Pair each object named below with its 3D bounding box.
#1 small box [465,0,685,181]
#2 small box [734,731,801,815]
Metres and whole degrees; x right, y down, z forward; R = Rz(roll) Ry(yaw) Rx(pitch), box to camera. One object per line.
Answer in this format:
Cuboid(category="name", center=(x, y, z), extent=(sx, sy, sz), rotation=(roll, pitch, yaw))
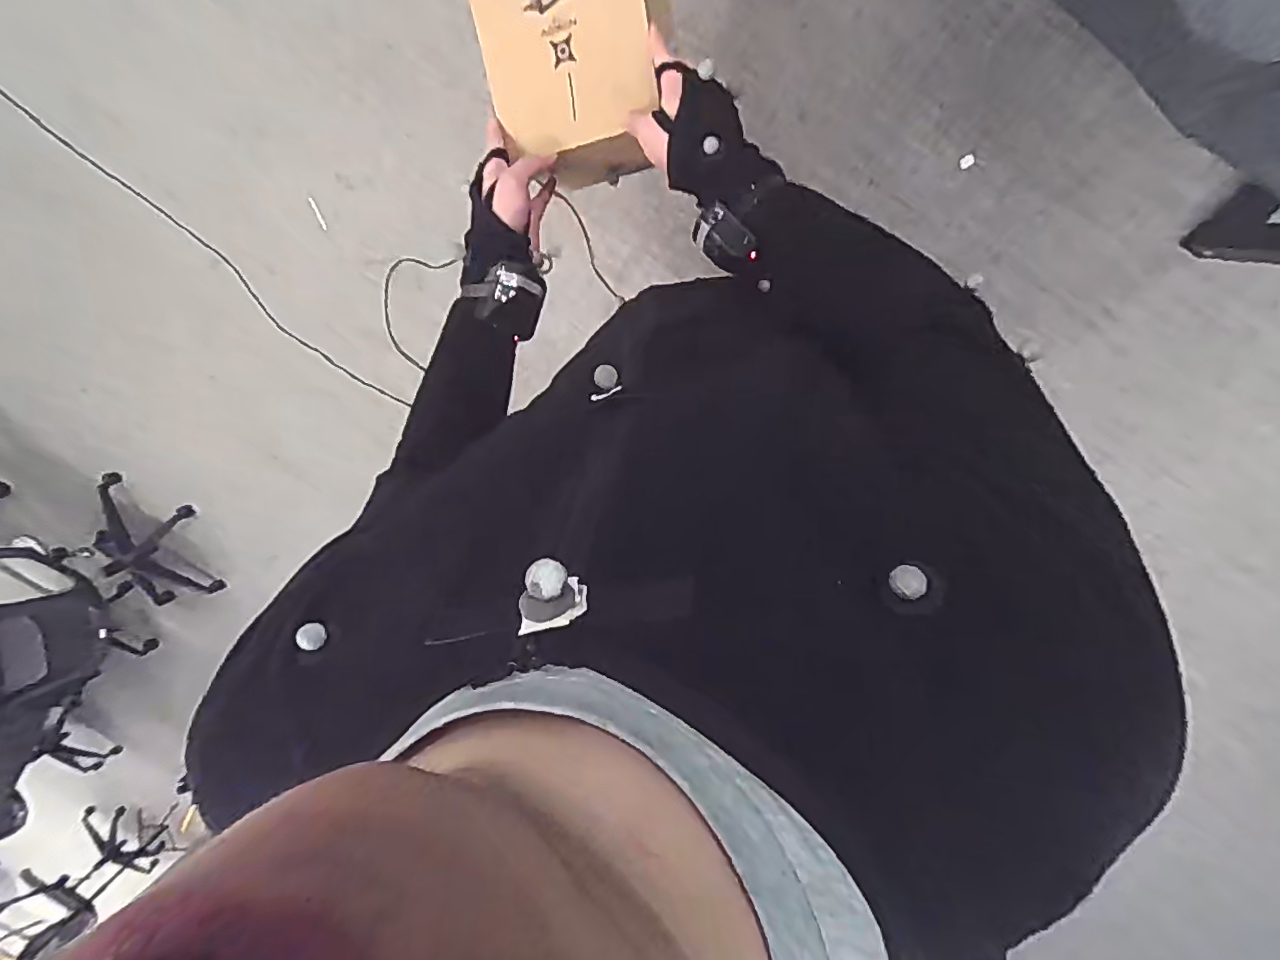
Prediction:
Cuboid(category="small box", center=(-0.055, -0.431, 0.553), extent=(0.168, 0.176, 0.179), rotation=(-5, 109, 17))
Cuboid(category="small box", center=(0.452, 1.039, 1.930), extent=(0.168, 0.176, 0.179), rotation=(33, 118, -2))
